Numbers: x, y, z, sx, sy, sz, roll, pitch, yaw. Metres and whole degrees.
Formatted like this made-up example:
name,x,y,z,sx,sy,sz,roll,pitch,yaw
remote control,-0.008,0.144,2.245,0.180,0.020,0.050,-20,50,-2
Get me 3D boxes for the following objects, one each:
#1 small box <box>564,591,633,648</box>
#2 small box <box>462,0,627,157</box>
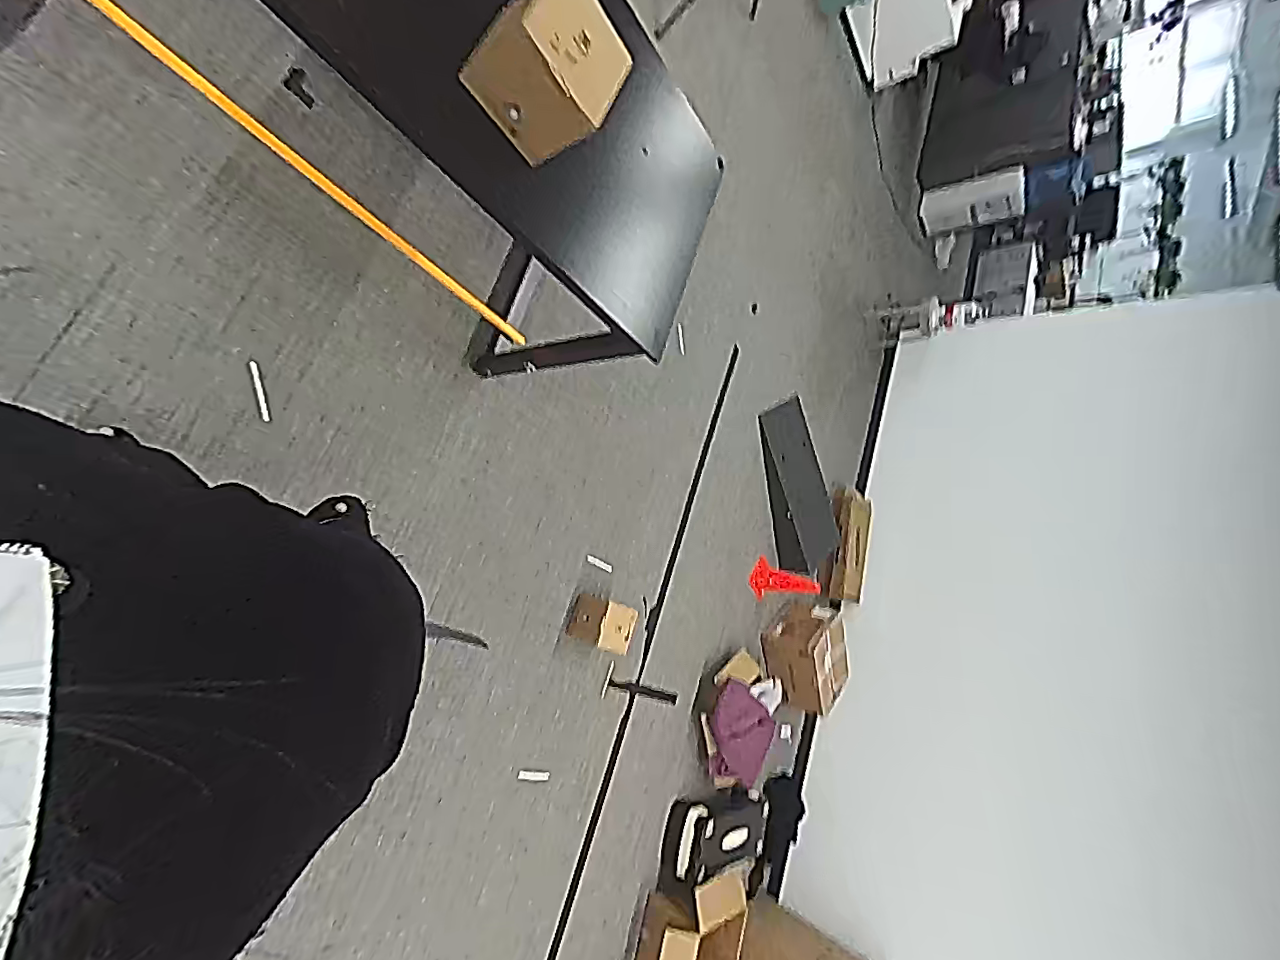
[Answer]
name,x,y,z,sx,sy,sz,roll,pitch,yaw
small box,-0.162,0.531,2.072,0.179,0.176,0.168,33,68,-44
small box,-0.156,-0.673,0.876,0.168,0.176,0.179,39,64,-43
